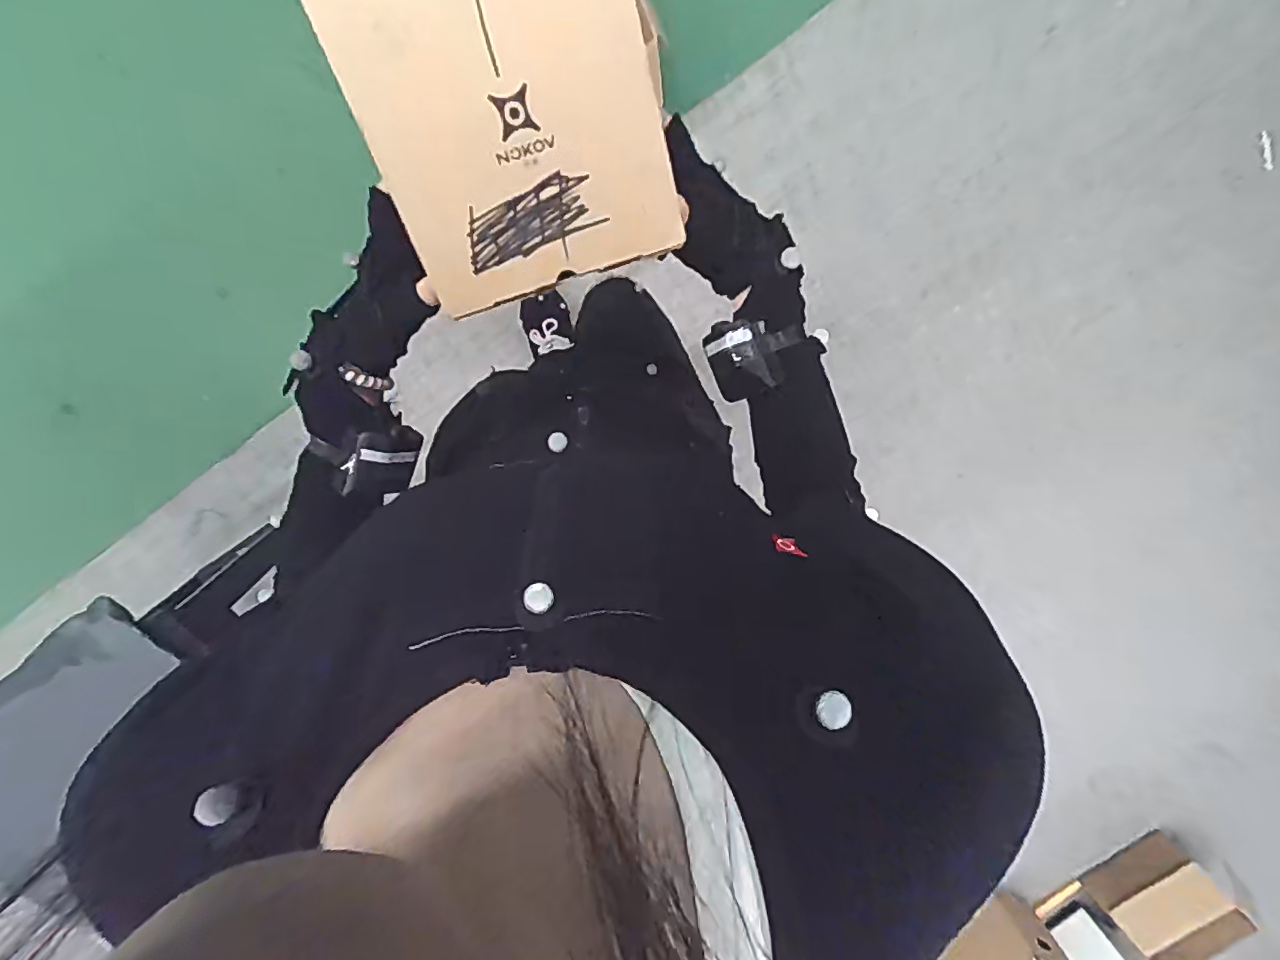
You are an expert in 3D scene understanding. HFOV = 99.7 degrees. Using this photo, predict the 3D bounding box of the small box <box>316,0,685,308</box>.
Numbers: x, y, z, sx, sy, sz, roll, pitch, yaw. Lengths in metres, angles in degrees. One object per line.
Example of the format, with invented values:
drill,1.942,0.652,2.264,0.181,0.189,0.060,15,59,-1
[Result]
small box,-0.080,-0.245,0.377,0.168,0.176,0.179,-18,120,-1
